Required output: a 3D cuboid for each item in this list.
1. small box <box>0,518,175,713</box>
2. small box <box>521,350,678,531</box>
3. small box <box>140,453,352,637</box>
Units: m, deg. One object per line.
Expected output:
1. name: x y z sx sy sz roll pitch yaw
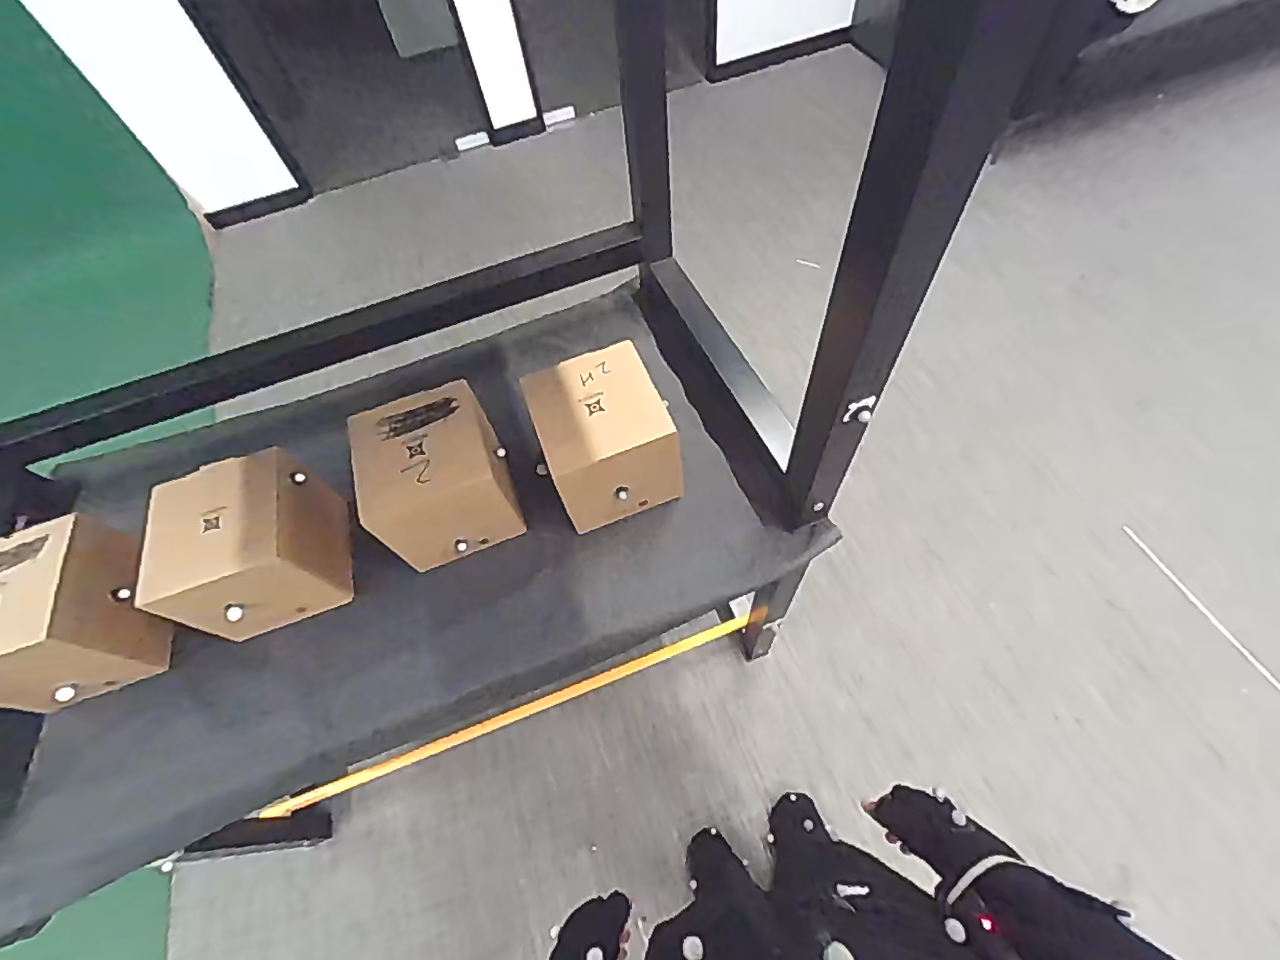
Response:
1. small box: -0.755 0.182 0.710 0.168 0.176 0.179 -19 59 -5
2. small box: -0.051 -0.046 0.773 0.168 0.176 0.179 -20 58 -6
3. small box: -0.518 0.098 0.739 0.168 0.176 0.179 -19 58 -6
